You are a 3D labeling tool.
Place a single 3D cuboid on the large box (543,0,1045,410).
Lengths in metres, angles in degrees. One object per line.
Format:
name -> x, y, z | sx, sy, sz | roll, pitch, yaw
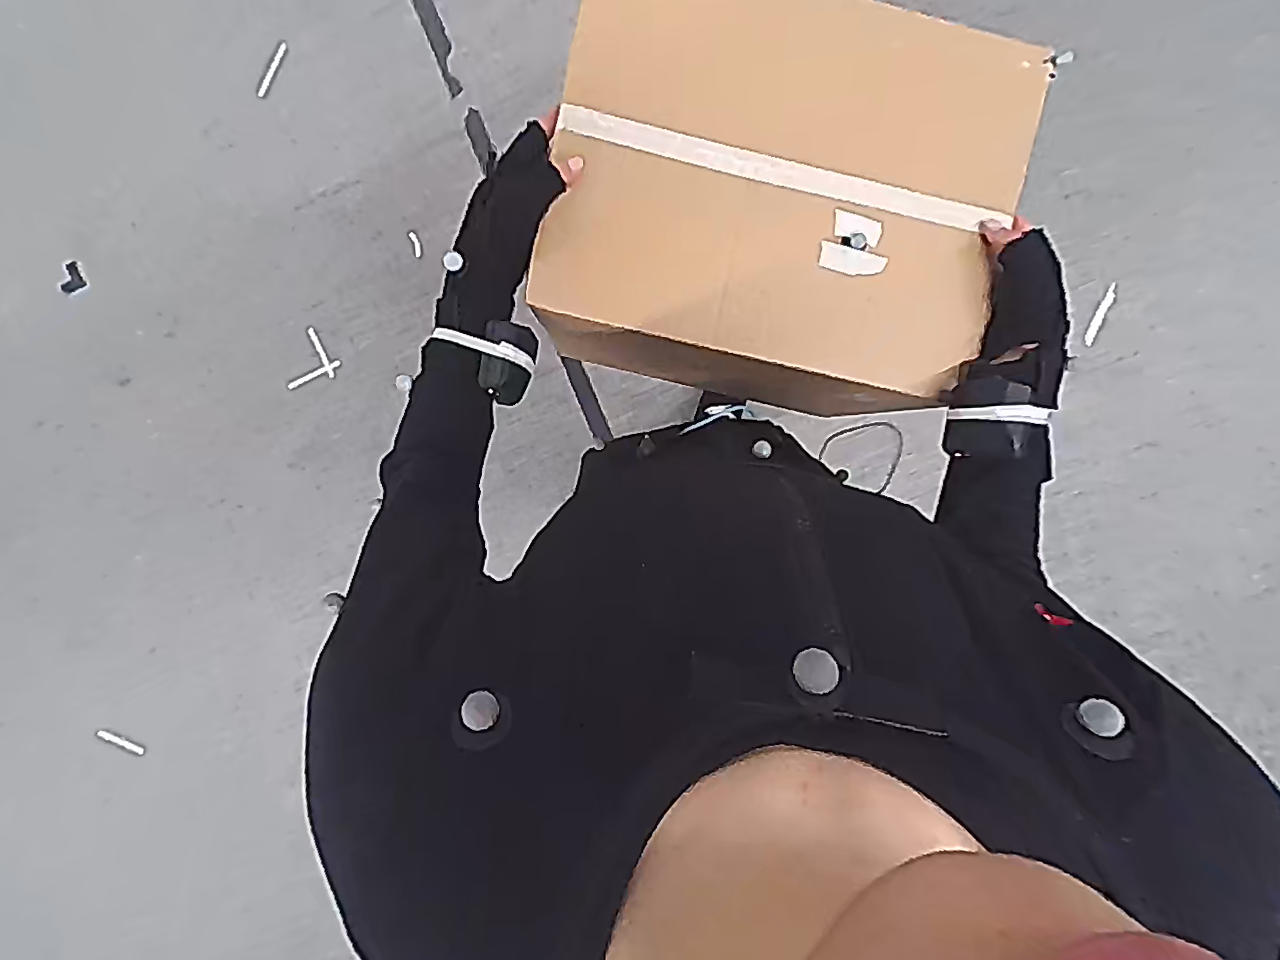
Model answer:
large box -> 0.128, -0.279, 0.625 | 0.408, 0.320, 0.320 | 14, 95, -5
